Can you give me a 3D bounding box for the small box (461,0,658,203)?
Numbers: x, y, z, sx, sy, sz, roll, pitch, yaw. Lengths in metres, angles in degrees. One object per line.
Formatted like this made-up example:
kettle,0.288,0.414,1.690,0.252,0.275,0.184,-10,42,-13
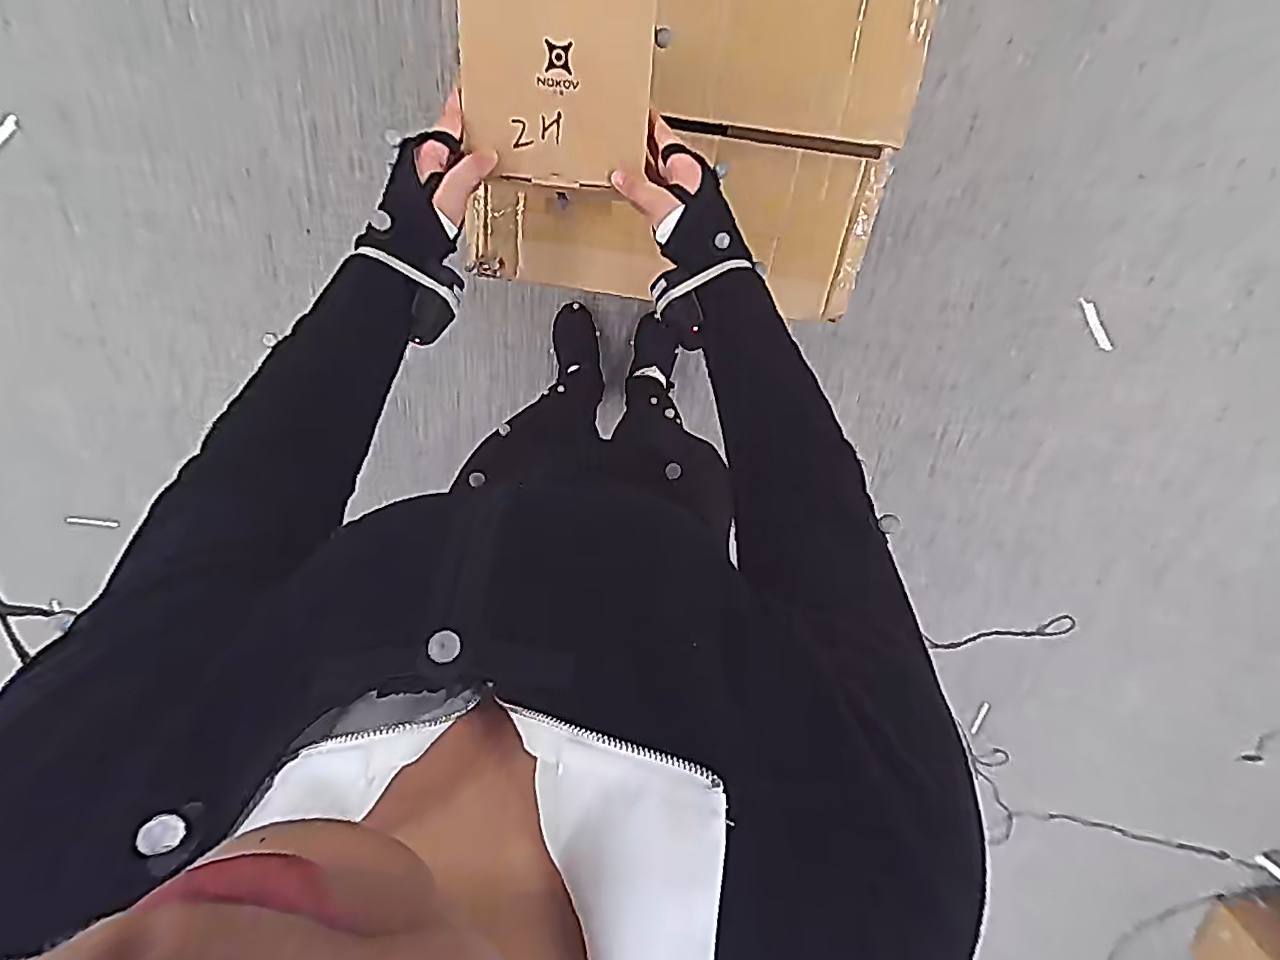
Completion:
small box,-0.077,-0.389,0.545,0.168,0.176,0.179,3,114,-5
